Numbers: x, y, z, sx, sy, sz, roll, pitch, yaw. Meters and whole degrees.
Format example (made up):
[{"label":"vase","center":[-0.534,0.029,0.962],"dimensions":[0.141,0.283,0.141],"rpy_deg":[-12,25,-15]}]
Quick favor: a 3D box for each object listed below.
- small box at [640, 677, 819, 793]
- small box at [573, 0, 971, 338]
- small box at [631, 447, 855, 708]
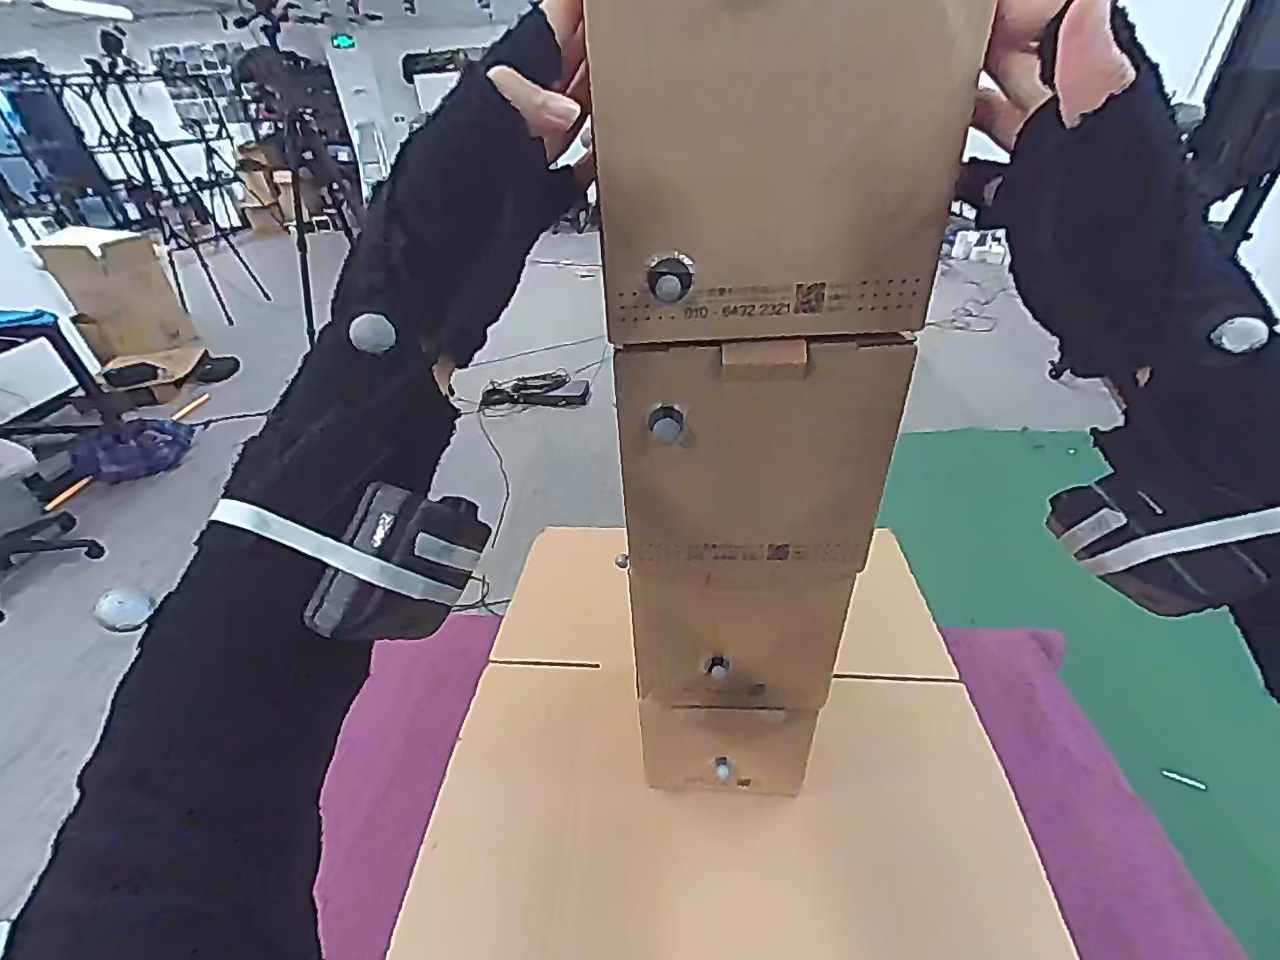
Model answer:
[{"label":"small box","center":[0.092,0.214,0.604],"dimensions":[0.168,0.176,0.179],"rpy_deg":[0,35,7]},{"label":"small box","center":[0.061,-0.185,0.314],"dimensions":[0.168,0.176,0.179],"rpy_deg":[-2,32,2]},{"label":"small box","center":[0.082,0.084,0.506],"dimensions":[0.168,0.176,0.179],"rpy_deg":[-1,35,4]}]
